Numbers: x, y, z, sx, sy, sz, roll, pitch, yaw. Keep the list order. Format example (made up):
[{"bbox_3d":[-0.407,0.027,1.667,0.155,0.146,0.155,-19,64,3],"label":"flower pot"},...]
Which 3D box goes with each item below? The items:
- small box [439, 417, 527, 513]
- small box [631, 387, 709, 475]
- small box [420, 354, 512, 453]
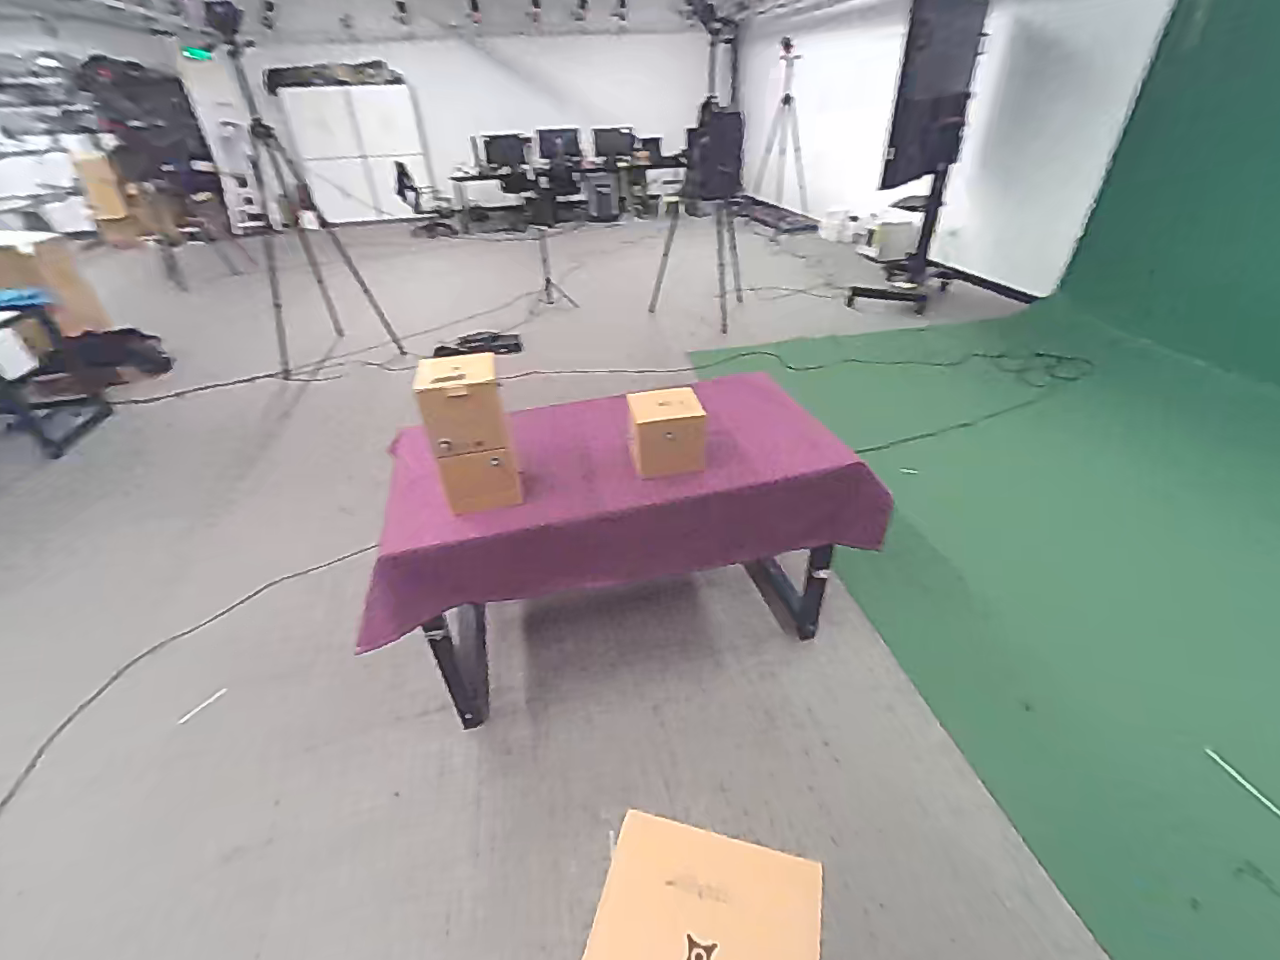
[{"bbox_3d":[-0.384,-0.036,1.341,0.179,0.176,0.168,-9,35,-9],"label":"small box"},{"bbox_3d":[0.079,-0.125,1.422,0.179,0.176,0.168,-8,36,-5],"label":"small box"},{"bbox_3d":[-0.394,-0.173,1.251,0.168,0.176,0.179,-10,34,-10],"label":"small box"}]
